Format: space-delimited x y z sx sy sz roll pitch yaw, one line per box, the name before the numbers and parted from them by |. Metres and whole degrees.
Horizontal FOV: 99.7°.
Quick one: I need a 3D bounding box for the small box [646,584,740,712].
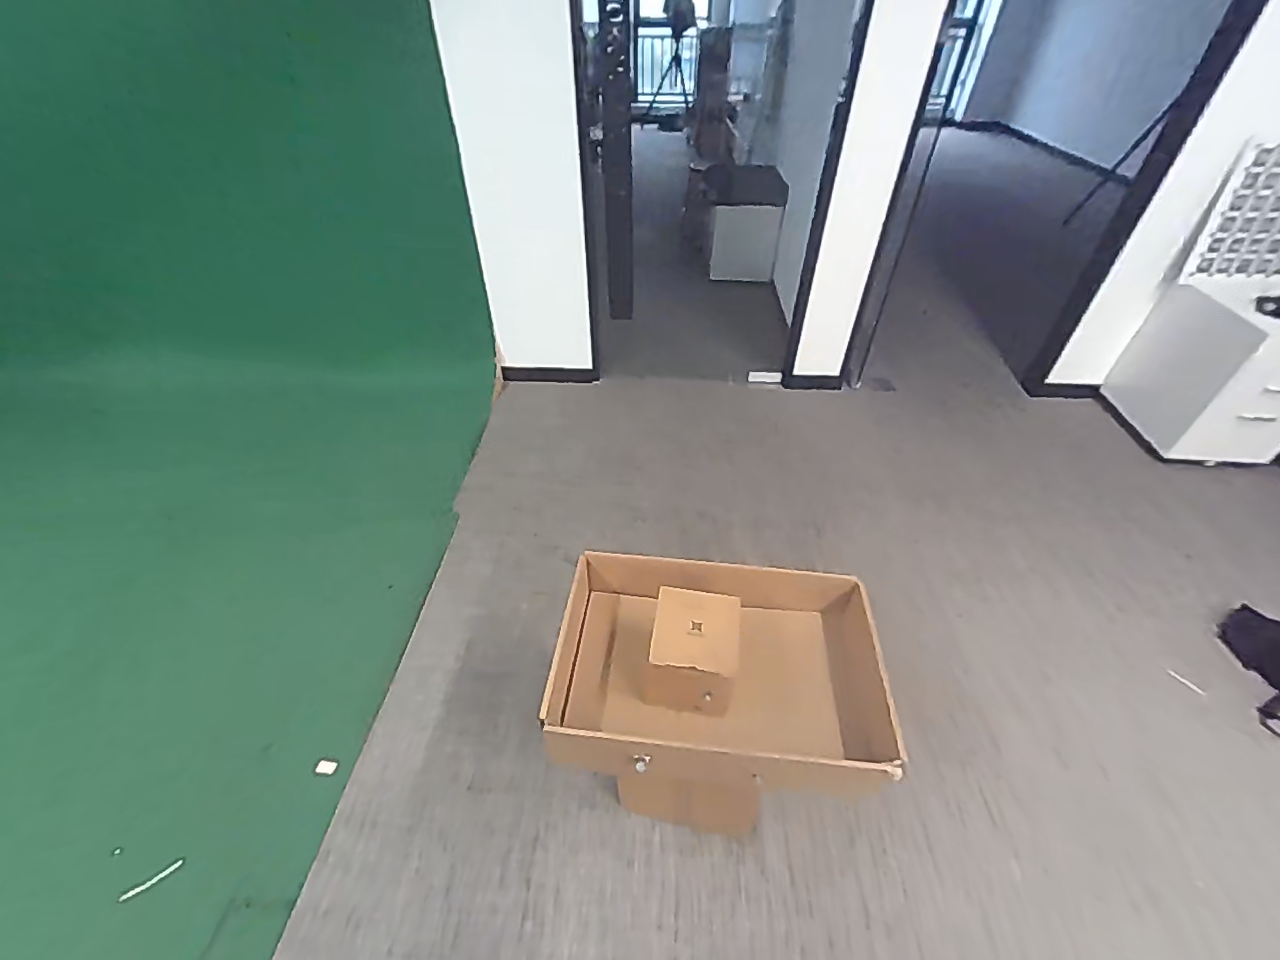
small box | 0.105 0.340 1.087 0.168 0.176 0.179 8 41 4
